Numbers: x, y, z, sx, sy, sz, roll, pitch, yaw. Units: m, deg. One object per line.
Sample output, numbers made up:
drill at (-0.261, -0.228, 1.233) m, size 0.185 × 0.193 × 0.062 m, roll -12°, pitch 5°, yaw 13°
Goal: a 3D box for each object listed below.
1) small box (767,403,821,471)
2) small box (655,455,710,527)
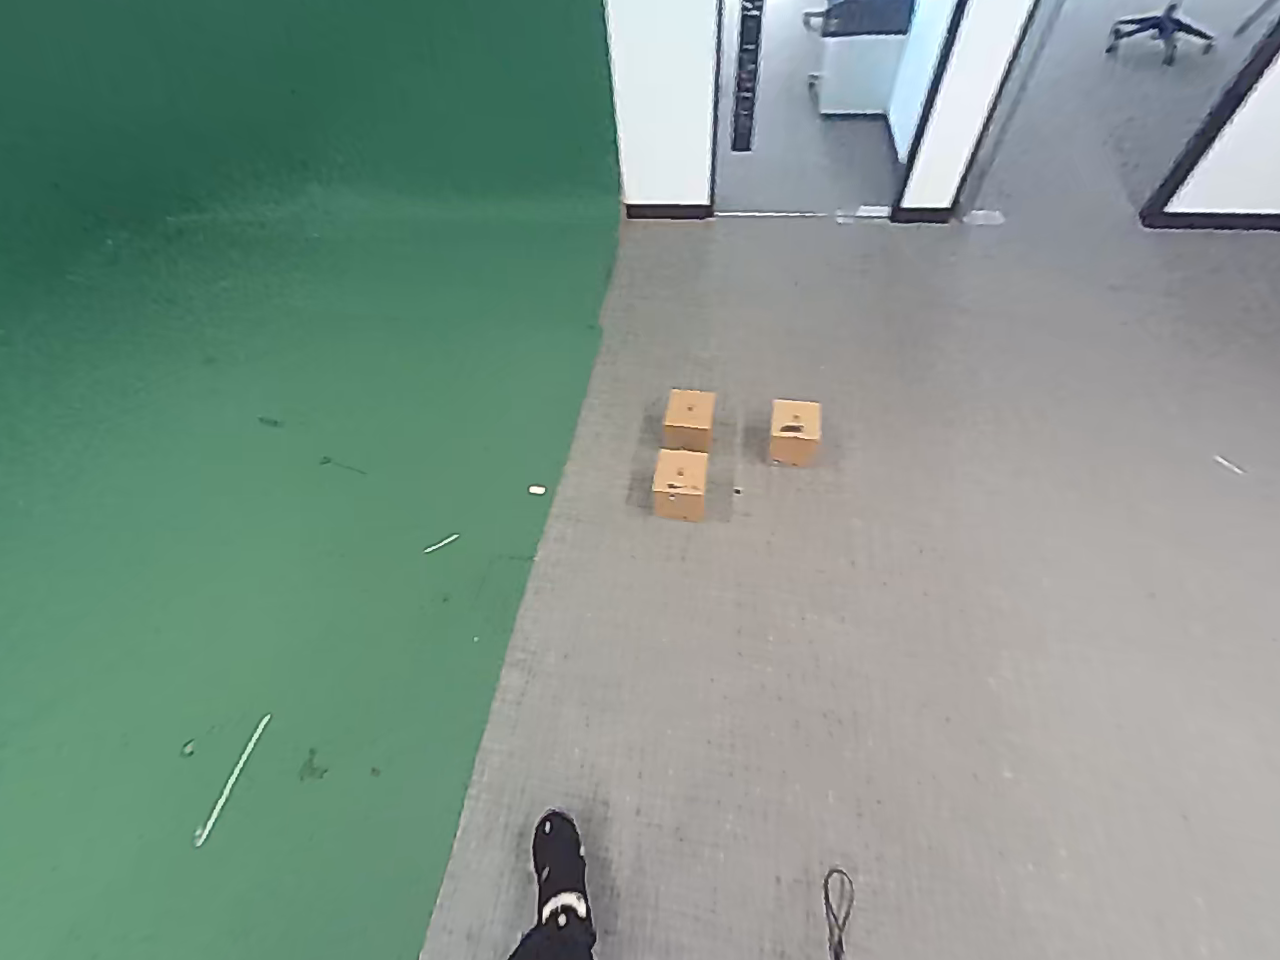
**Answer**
small box at (0.548, -0.150, 1.935) m, size 0.168 × 0.176 × 0.179 m, roll 6°, pitch 54°, yaw 10°
small box at (0.145, 0.037, 1.838) m, size 0.168 × 0.176 × 0.179 m, roll 5°, pitch 54°, yaw 9°
